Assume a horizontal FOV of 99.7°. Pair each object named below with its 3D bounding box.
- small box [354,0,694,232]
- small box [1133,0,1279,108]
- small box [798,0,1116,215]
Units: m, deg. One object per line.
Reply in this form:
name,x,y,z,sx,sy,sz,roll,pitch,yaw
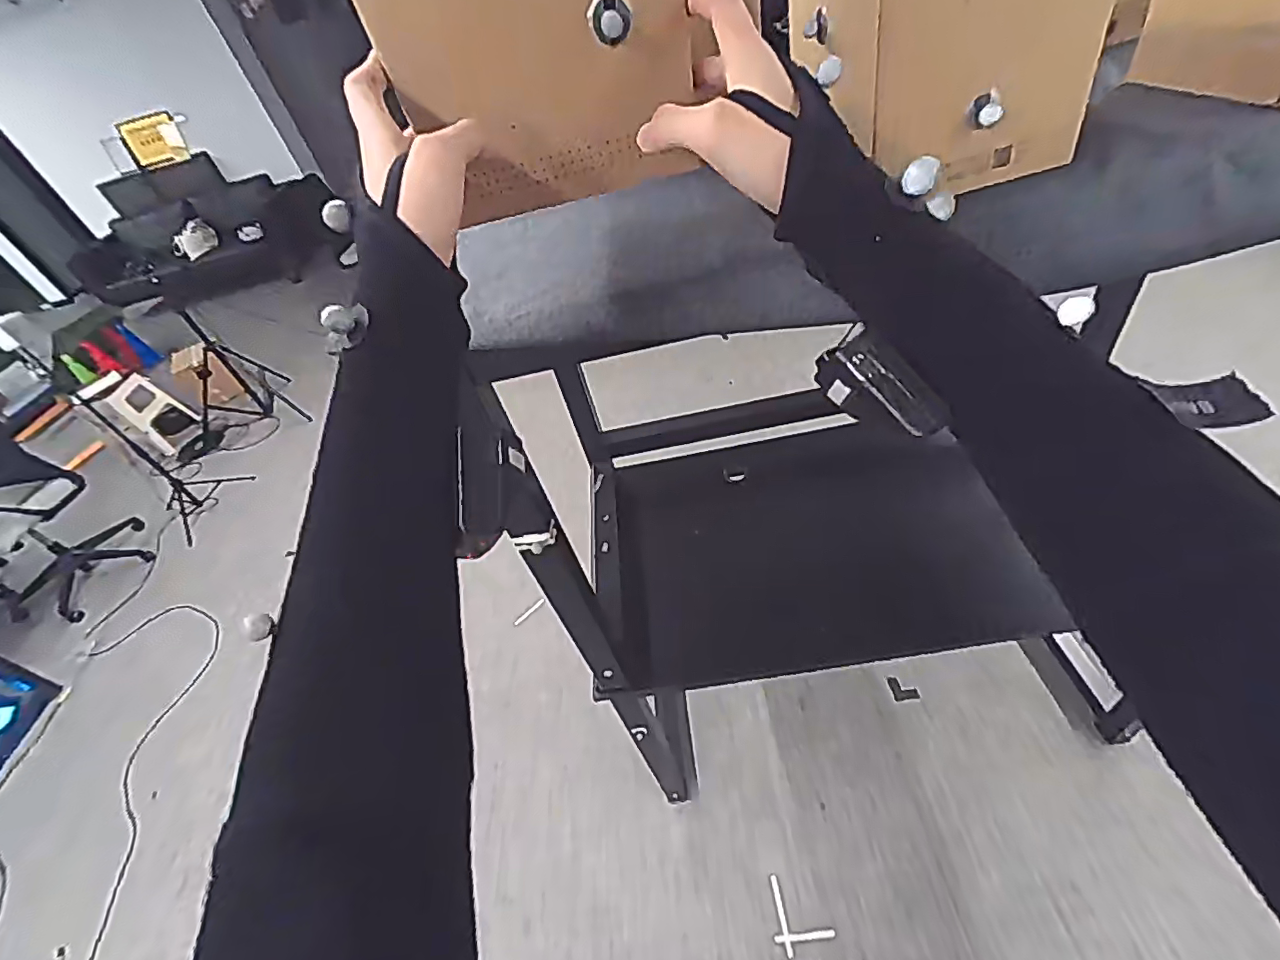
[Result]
small box,-0.065,-0.294,0.355,0.179,0.176,0.168,-13,50,2
small box,0.562,-0.420,0.432,0.168,0.176,0.179,-11,42,6
small box,0.235,-0.339,0.445,0.168,0.176,0.179,-15,40,2
